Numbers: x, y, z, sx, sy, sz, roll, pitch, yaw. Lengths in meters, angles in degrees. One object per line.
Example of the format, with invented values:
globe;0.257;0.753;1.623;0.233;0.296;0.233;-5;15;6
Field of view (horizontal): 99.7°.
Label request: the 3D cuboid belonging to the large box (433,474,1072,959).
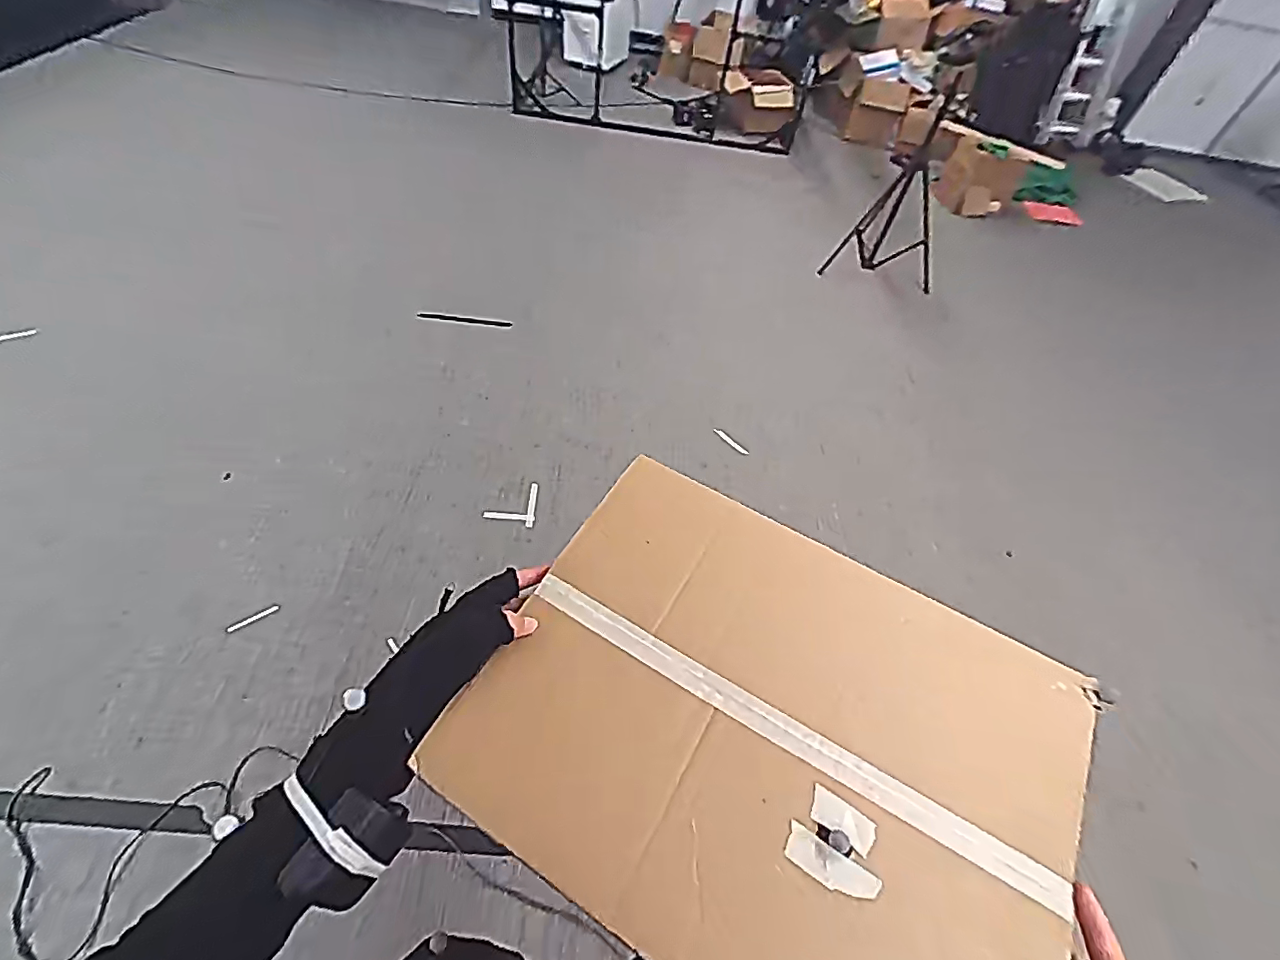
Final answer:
large box;0.091;0.265;0.529;0.408;0.320;0.320;27;60;16
